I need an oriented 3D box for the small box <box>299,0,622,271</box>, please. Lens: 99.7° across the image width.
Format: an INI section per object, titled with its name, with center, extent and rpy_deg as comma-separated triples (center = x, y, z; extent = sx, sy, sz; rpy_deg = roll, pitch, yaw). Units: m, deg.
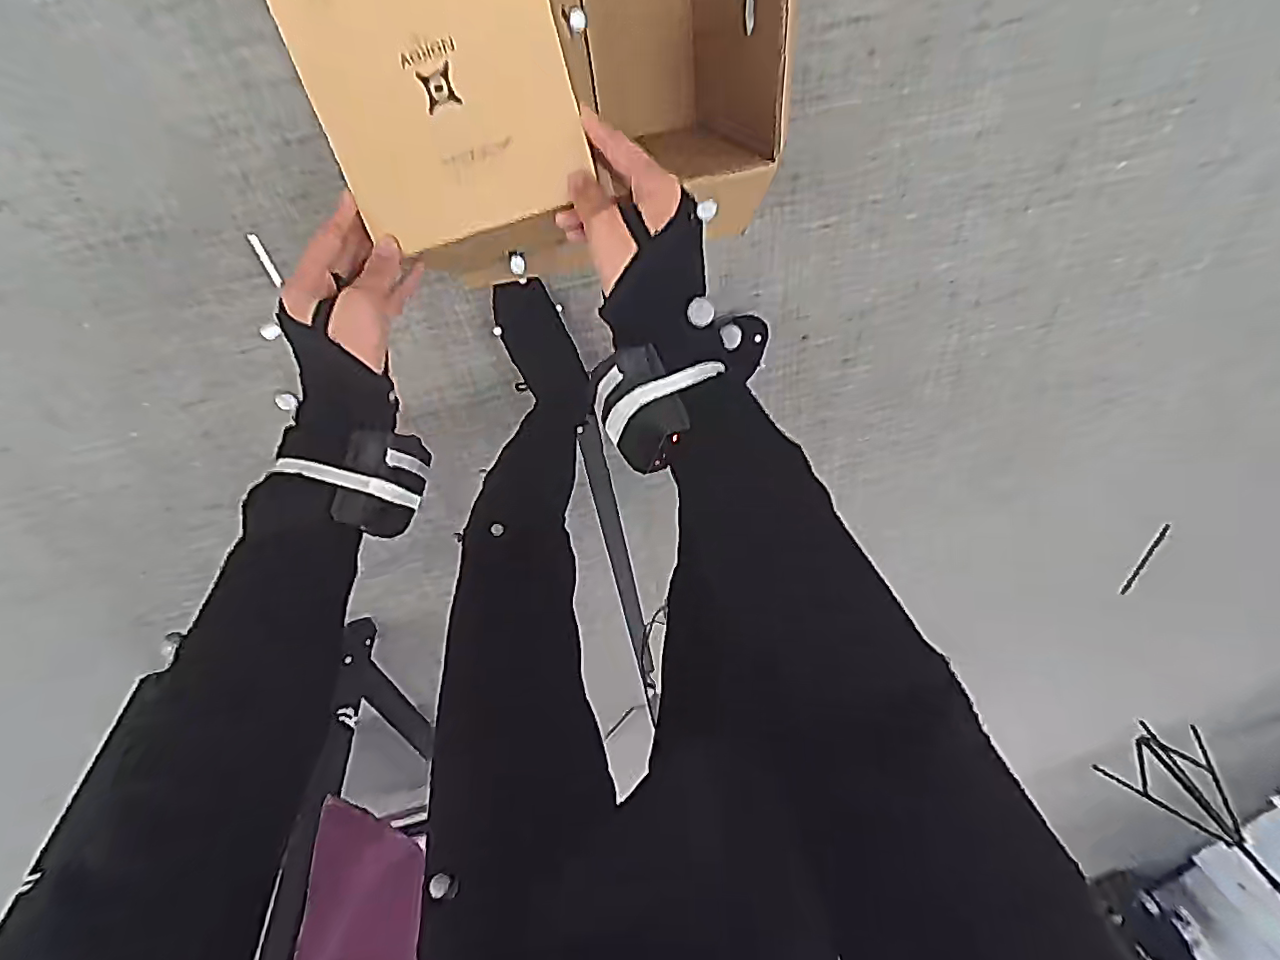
[small box]
center = -0.119, -0.282, 0.433
extent = 0.168, 0.176, 0.179
rpy_deg = -13, 106, 8
